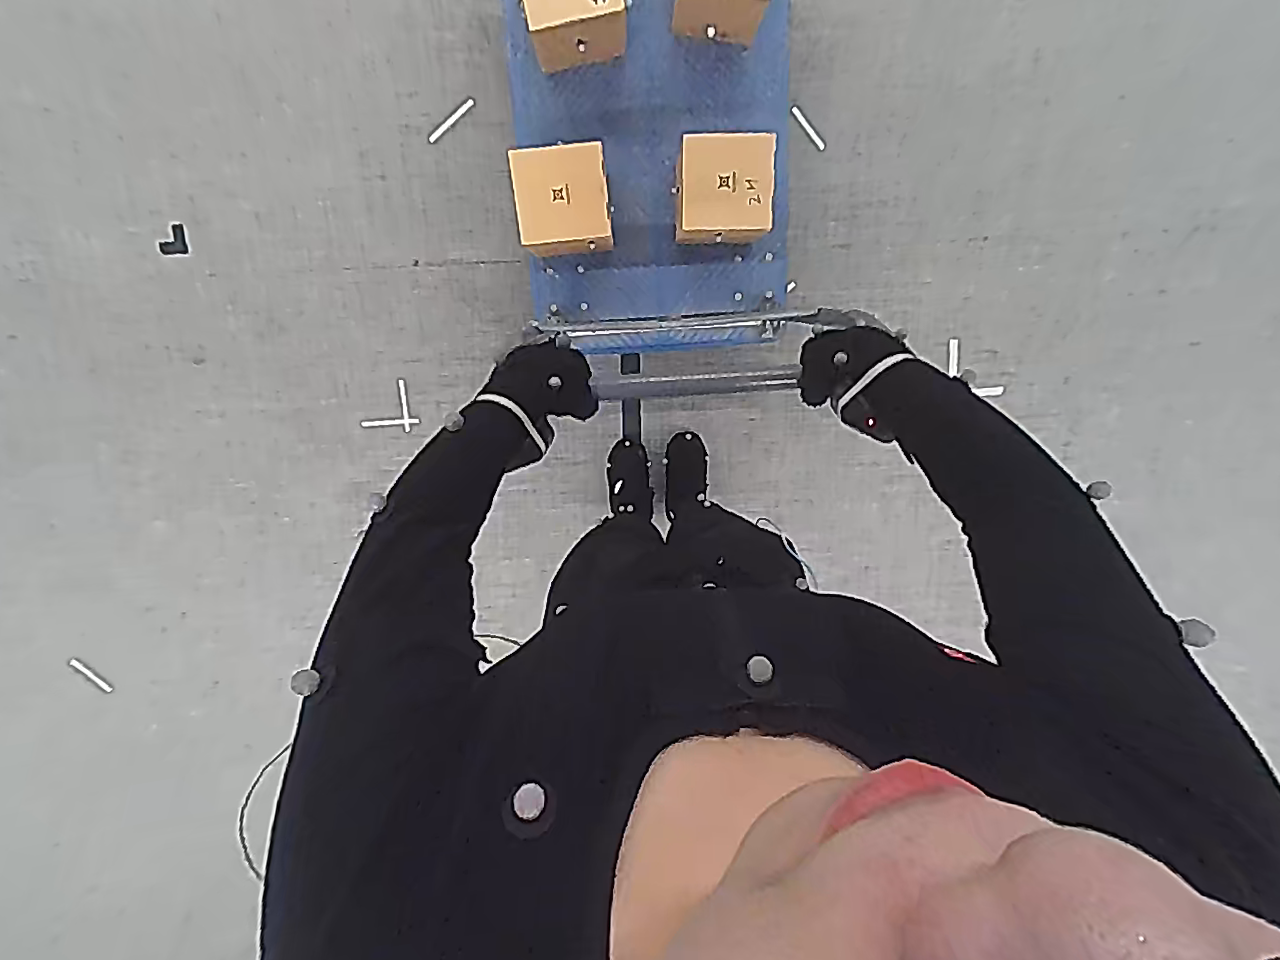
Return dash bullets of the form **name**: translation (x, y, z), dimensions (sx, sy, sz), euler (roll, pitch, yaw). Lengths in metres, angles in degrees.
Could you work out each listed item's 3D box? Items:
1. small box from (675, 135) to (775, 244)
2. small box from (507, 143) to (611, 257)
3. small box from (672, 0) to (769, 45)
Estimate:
- **small box**: translation (0.162, -0.576, 1.090), dimensions (0.179, 0.176, 0.168), euler (-1, 106, -1)
- **small box**: translation (-0.154, -0.553, 1.089), dimensions (0.179, 0.176, 0.168), euler (-7, 105, -1)
- **small box**: translation (0.153, -0.948, 0.986), dimensions (0.168, 0.176, 0.179), euler (7, 106, -3)
